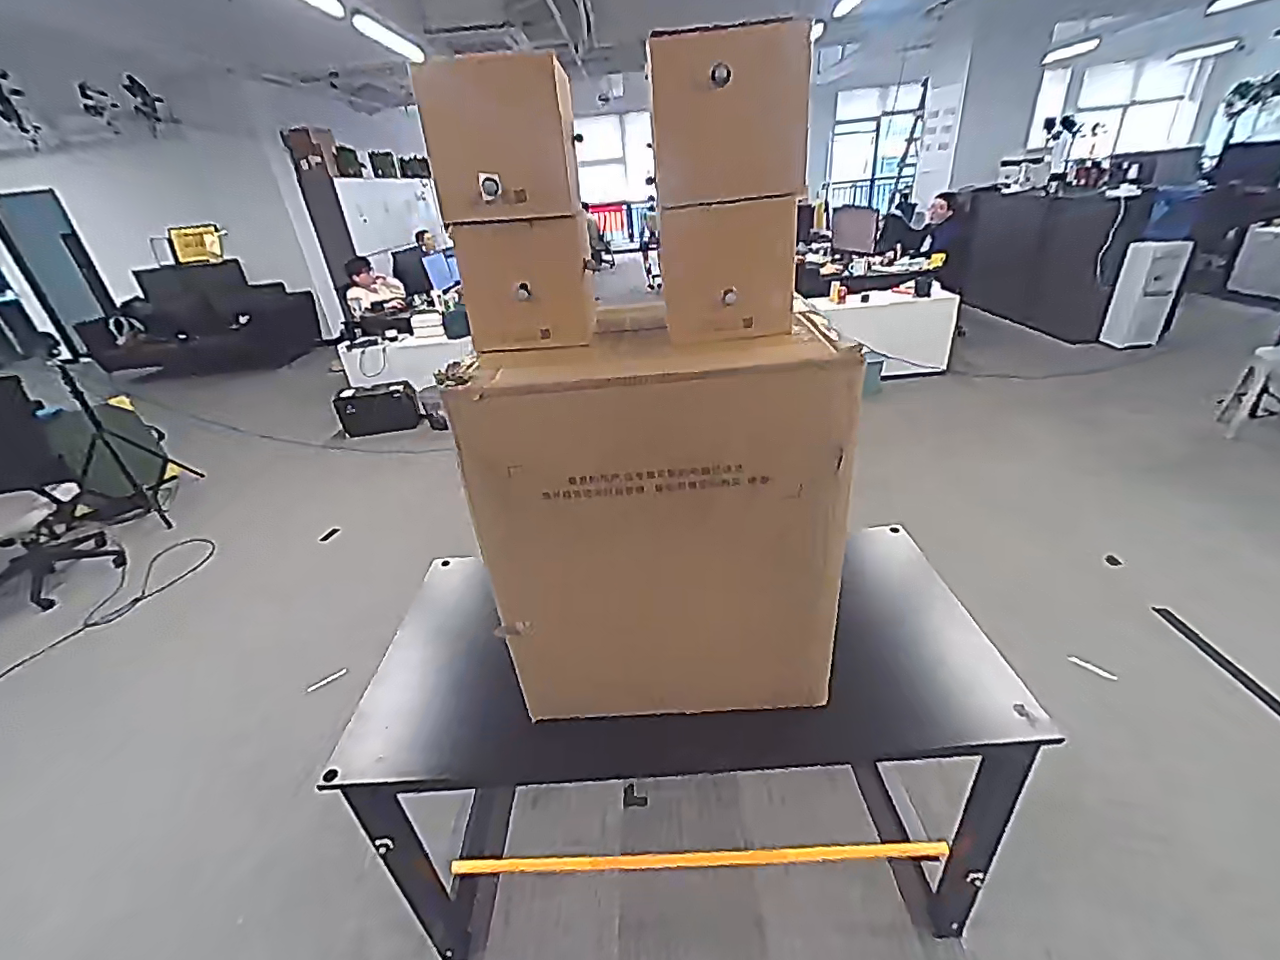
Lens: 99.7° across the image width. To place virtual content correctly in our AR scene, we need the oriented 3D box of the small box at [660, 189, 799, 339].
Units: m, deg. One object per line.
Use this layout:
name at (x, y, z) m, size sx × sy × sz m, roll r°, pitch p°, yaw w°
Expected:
small box at (0.117, -0.304, 0.756) m, size 0.168 × 0.176 × 0.179 m, roll -6°, pitch 29°, yaw 3°

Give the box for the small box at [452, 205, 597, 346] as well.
small box at (-0.155, -0.299, 0.795) m, size 0.168 × 0.176 × 0.179 m, roll -3°, pitch 29°, yaw 1°

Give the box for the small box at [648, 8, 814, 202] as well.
small box at (0.105, -0.445, 0.671) m, size 0.179 × 0.176 × 0.168 m, roll -5°, pitch 29°, yaw 2°

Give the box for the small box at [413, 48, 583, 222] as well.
small box at (-0.168, -0.435, 0.704) m, size 0.168 × 0.176 × 0.179 m, roll -5°, pitch 29°, yaw 1°
